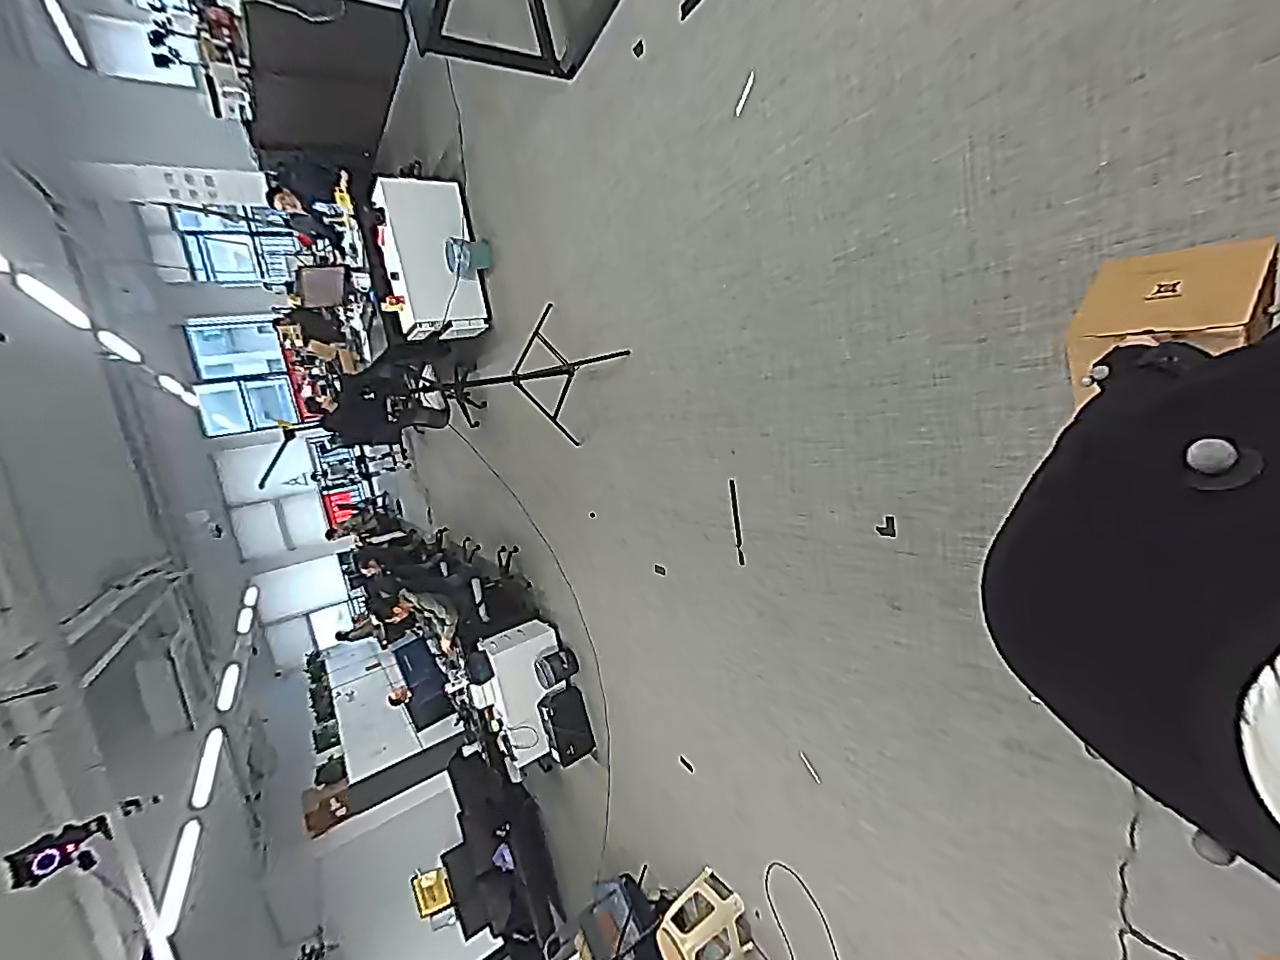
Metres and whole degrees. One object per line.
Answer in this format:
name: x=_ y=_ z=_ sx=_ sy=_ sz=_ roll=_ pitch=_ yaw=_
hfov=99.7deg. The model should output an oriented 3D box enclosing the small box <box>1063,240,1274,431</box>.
small box: x=0.707 y=-0.183 z=0.727 sx=0.168 sy=0.179 sz=0.176 roll=13 pitch=147 yaw=52
